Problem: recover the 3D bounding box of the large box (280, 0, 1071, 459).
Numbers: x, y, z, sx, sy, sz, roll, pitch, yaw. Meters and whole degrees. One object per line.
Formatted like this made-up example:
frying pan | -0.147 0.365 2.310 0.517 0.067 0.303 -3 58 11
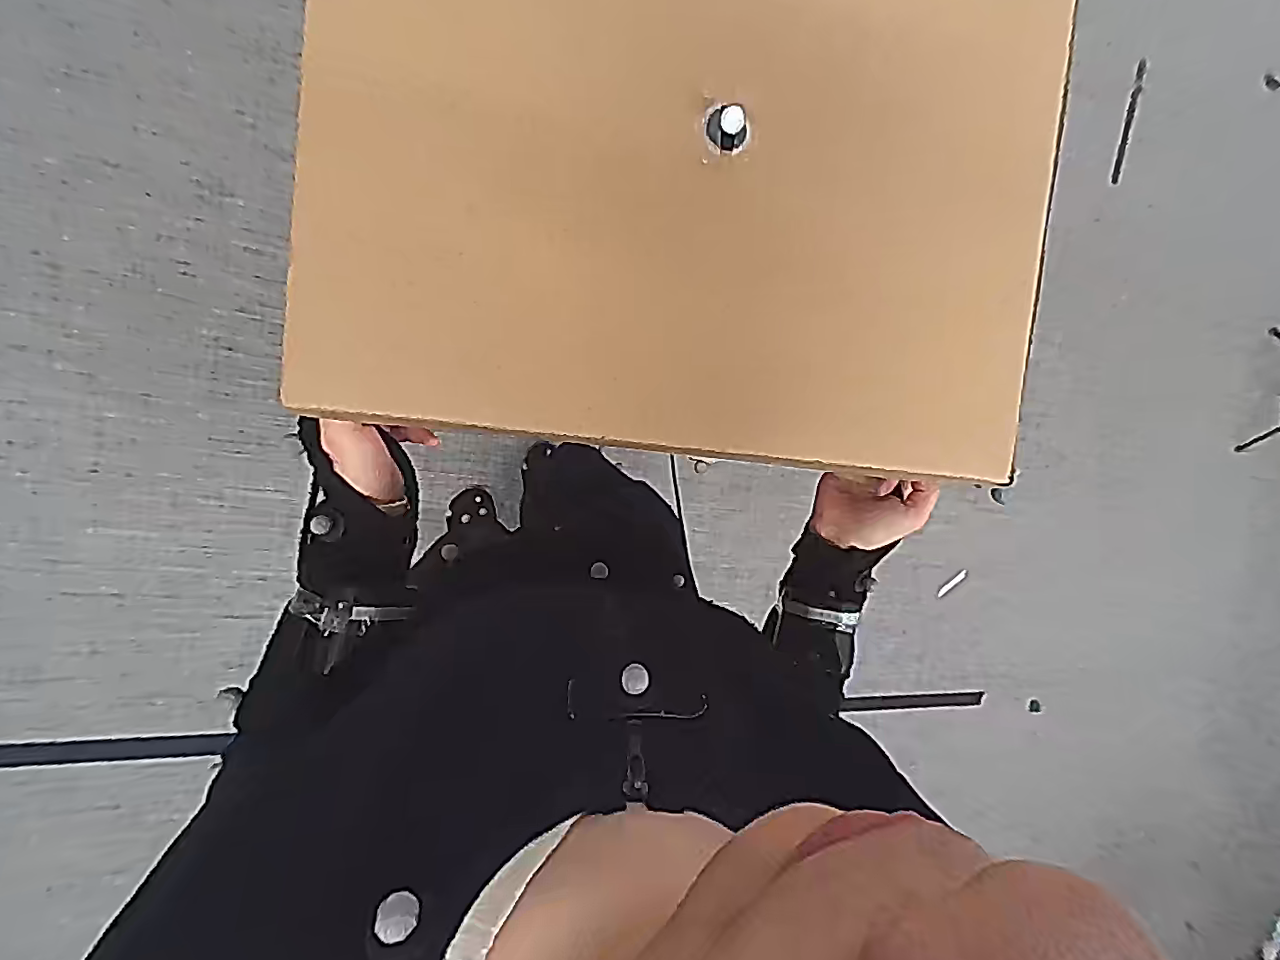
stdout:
large box | 0.014 -0.192 0.420 0.408 0.320 0.320 5 95 -10
